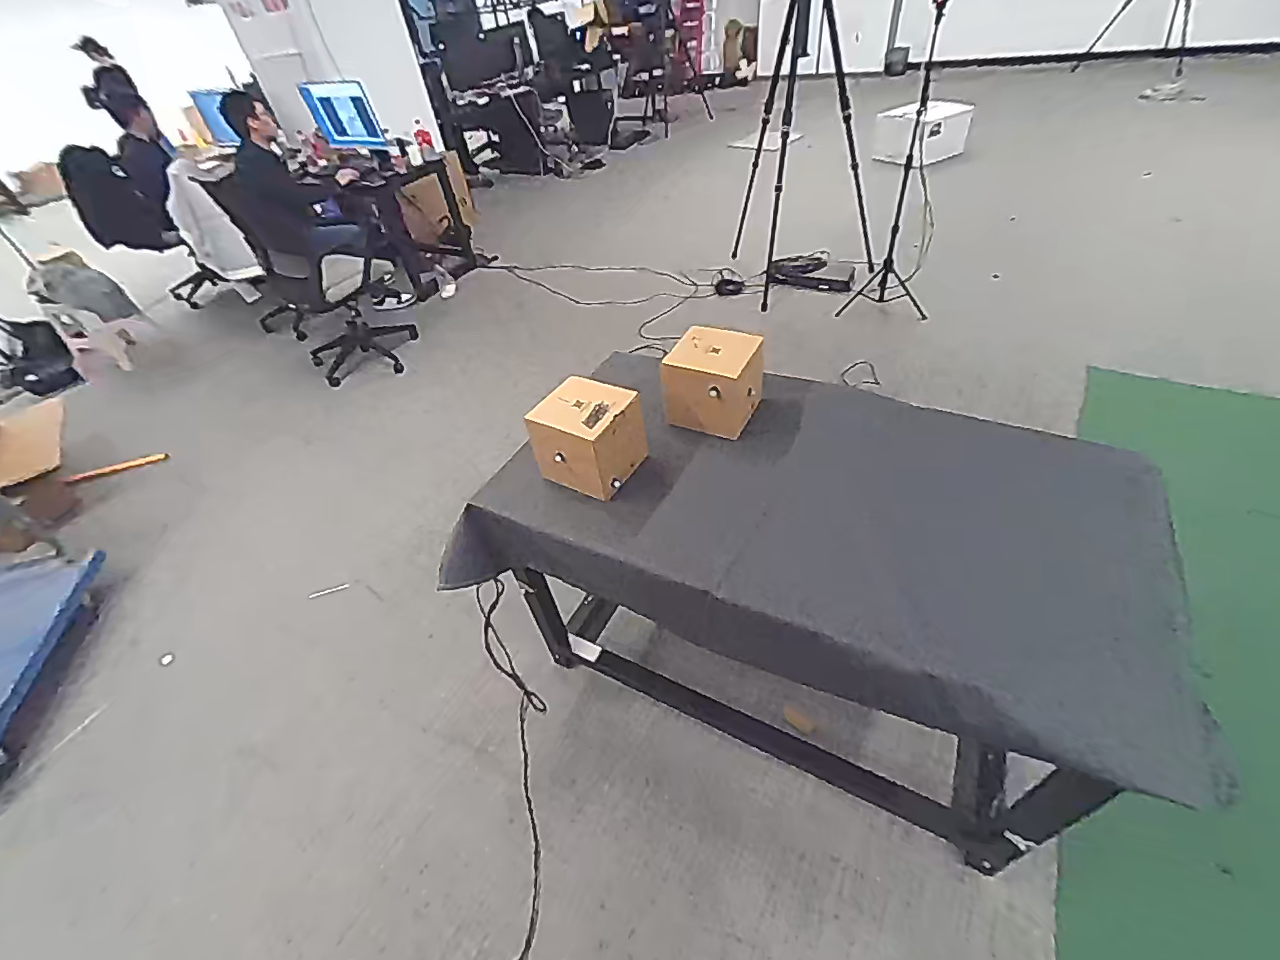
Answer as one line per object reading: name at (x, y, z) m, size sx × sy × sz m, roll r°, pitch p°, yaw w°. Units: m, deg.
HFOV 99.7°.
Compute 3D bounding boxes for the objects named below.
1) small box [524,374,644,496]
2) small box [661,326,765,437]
small box at (-0.107, -0.091, 1.128) m, size 0.179 × 0.176 × 0.168 m, roll 20°, pitch 50°, yaw 27°
small box at (0.167, -0.219, 1.215) m, size 0.179 × 0.176 × 0.168 m, roll 18°, pitch 50°, yaw 25°
